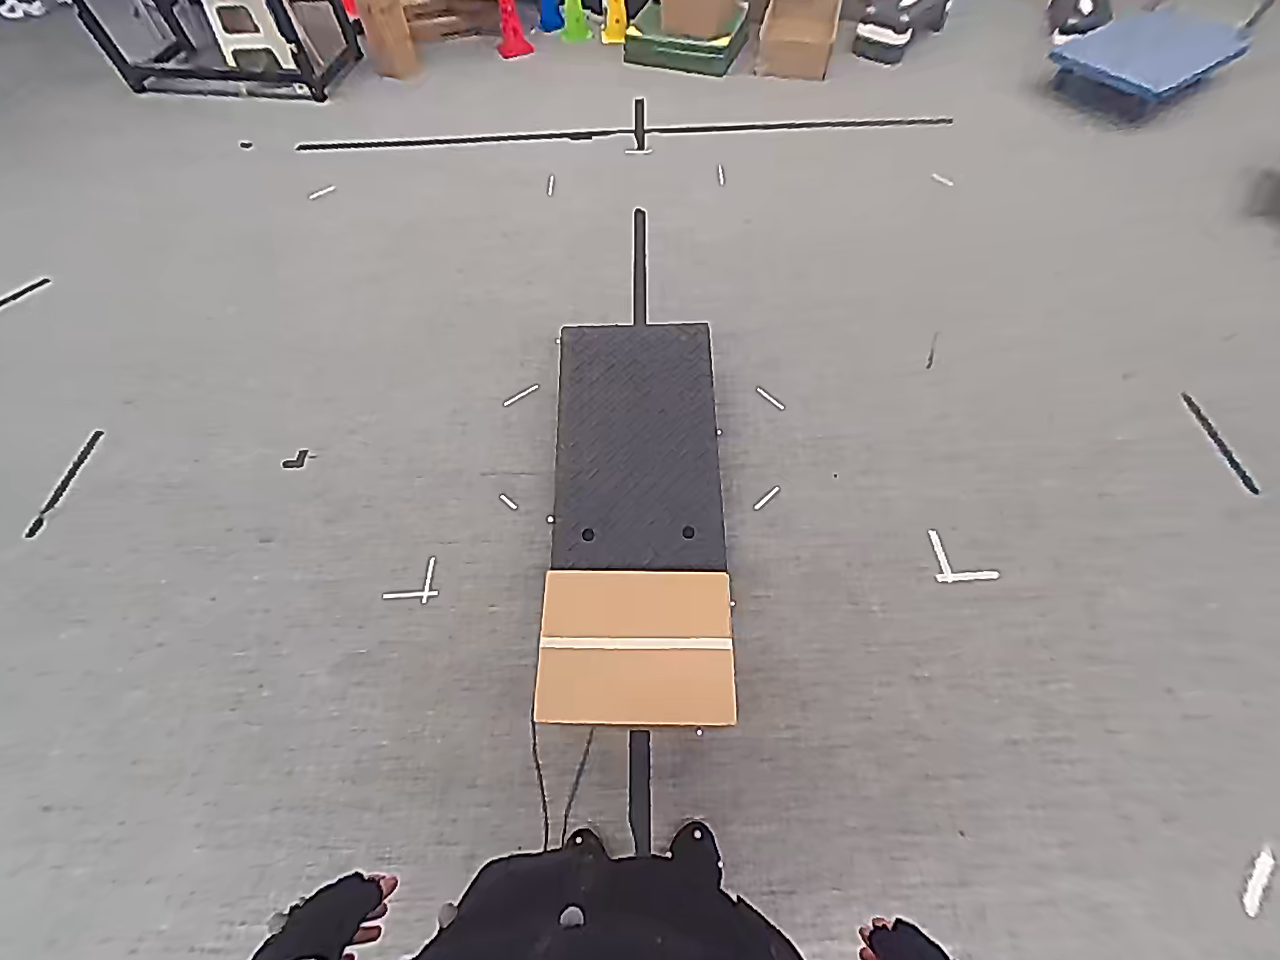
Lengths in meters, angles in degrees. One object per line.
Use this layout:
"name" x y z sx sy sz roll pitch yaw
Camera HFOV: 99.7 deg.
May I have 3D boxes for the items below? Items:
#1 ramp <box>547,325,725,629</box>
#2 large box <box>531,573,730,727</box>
"ramp" -0.018 -0.043 1.622 0.509 0.206 0.991 -2 59 -2
"large box" -0.016 0.411 1.271 0.408 0.320 0.320 1 63 1
